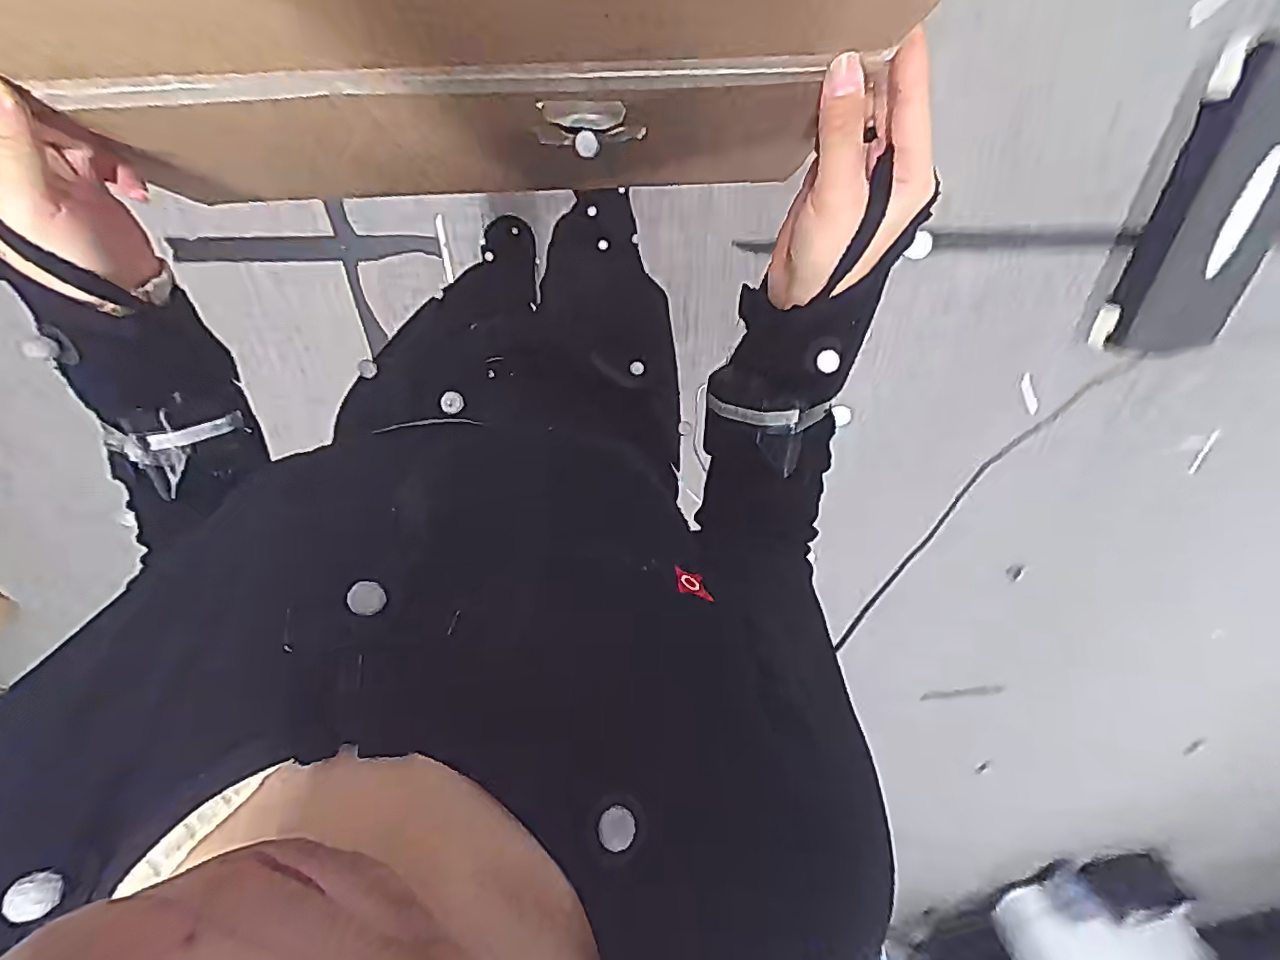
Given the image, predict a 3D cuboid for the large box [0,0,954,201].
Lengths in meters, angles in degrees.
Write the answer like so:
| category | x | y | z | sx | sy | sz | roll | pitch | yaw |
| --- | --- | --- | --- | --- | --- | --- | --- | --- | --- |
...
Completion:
| category | x | y | z | sx | sy | sz | roll | pitch | yaw |
| --- | --- | --- | --- | --- | --- | --- | --- | --- | --- |
| large box | -0.095 | -0.324 | 0.206 | 0.408 | 0.320 | 0.320 | -3 | 102 | -2 |
